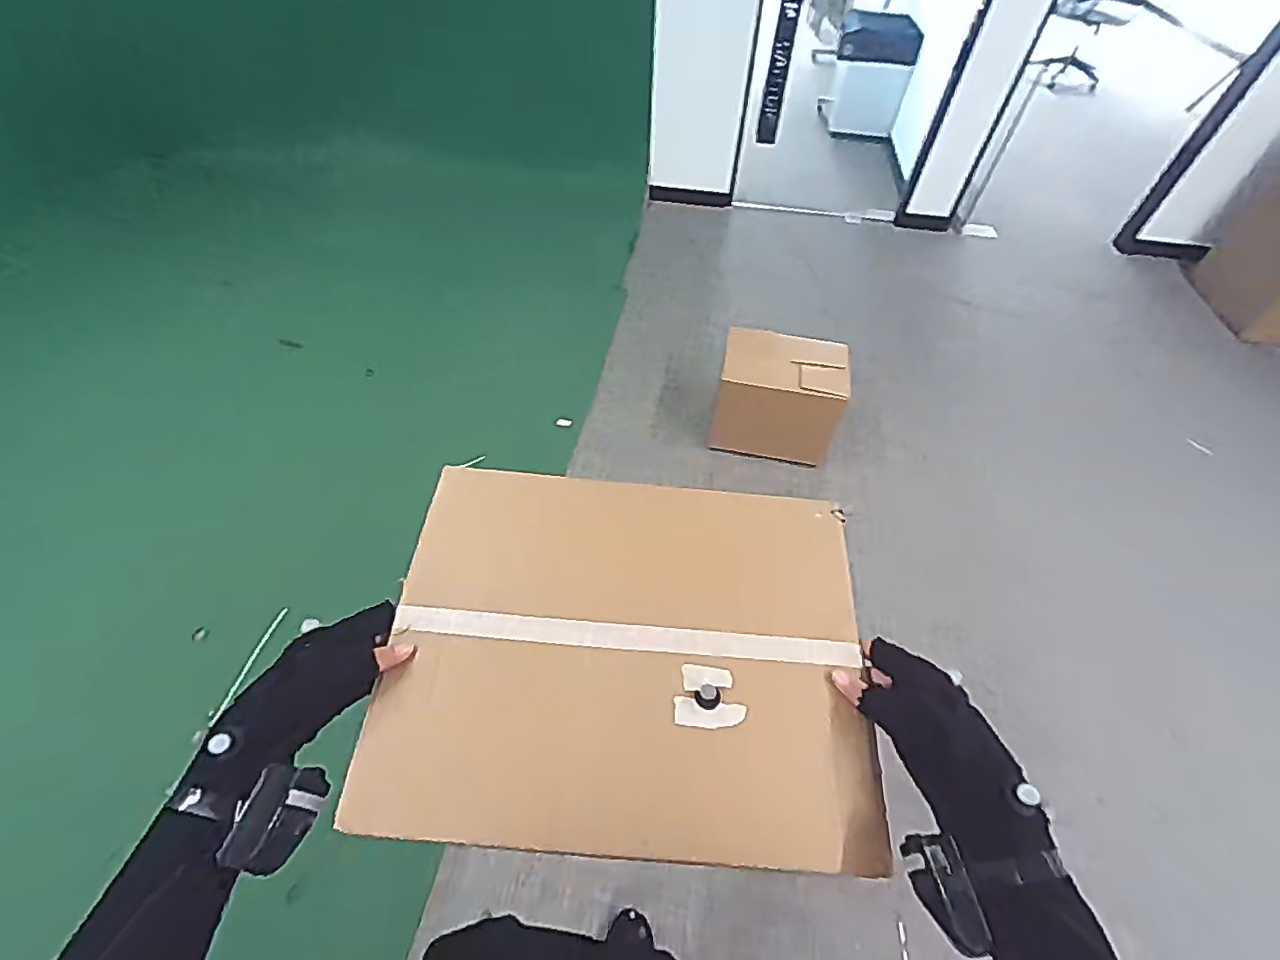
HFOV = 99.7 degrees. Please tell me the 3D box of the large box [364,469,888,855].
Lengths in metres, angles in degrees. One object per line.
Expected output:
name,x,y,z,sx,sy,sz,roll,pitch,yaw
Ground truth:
large box,-0.011,0.213,0.606,0.408,0.320,0.320,6,58,-1
